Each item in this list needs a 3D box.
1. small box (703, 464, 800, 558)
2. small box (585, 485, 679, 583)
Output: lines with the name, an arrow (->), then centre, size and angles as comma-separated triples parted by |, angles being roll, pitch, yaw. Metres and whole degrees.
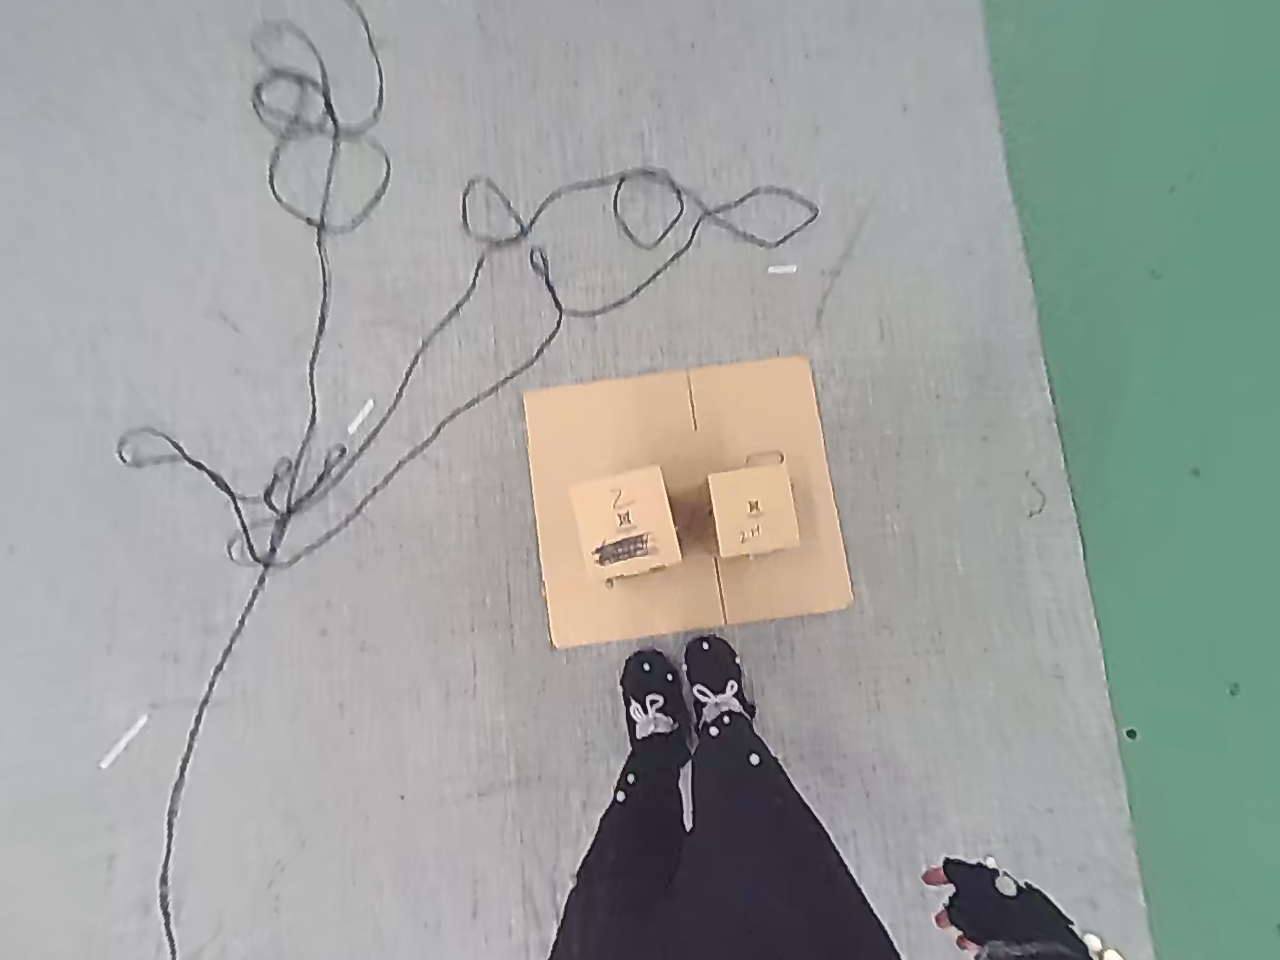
small box -> 0.233, 0.074, 1.178 | 0.168, 0.176, 0.179 | -8, 83, 1
small box -> -0.014, 0.118, 1.173 | 0.168, 0.176, 0.179 | -12, 82, -1
